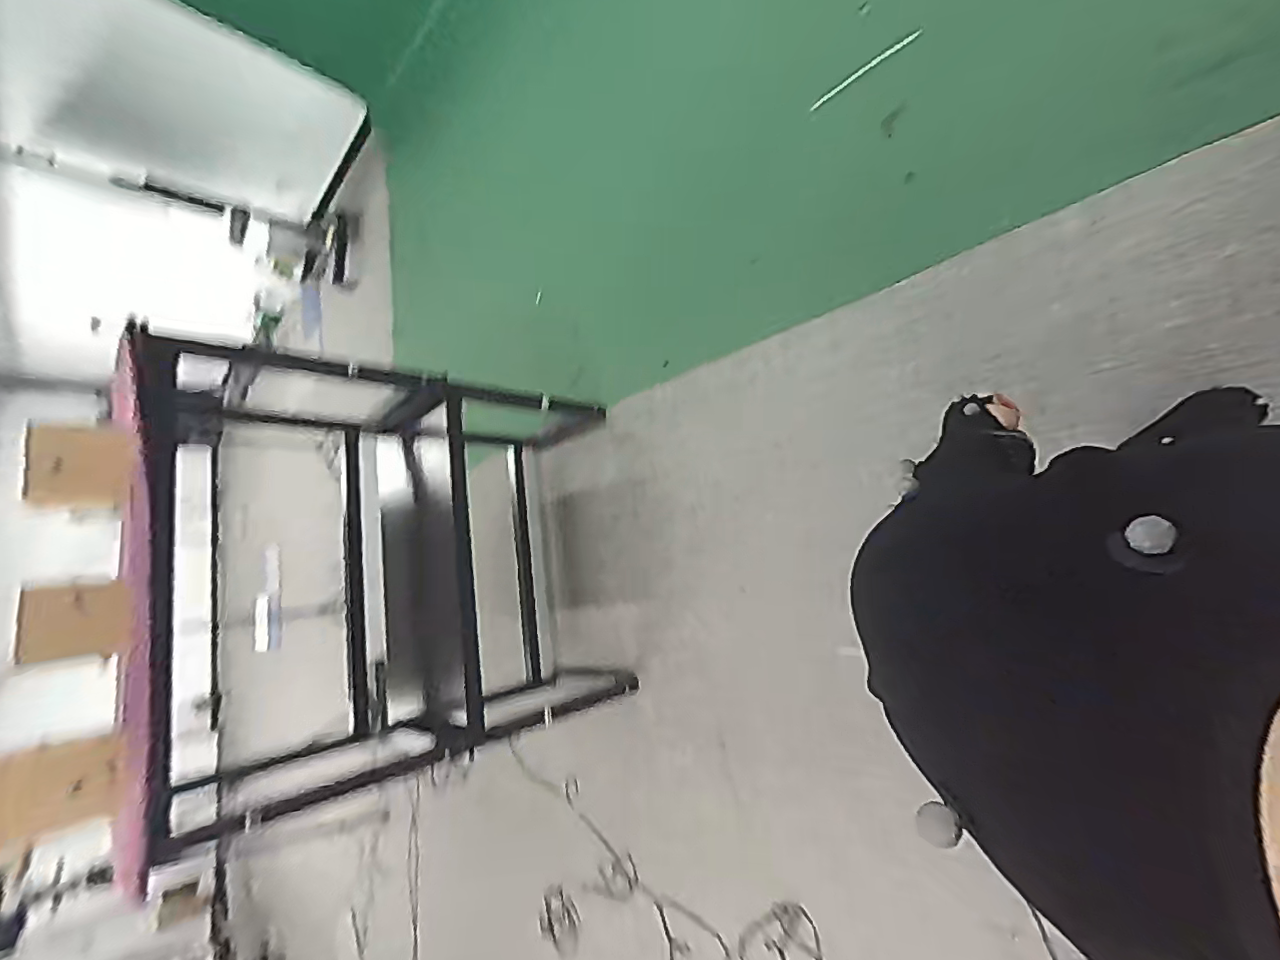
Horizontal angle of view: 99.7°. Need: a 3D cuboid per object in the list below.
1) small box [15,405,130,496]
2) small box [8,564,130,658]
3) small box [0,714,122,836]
[{"bbox_3d":[-1.283,-0.061,1.233,0.168,0.176,0.179,-14,79,45],"label":"small box"},{"bbox_3d":[-1.223,0.276,1.163,0.168,0.176,0.179,-17,77,43],"label":"small box"},{"bbox_3d":[-1.182,0.589,1.104,0.179,0.176,0.168,-17,75,42],"label":"small box"}]
